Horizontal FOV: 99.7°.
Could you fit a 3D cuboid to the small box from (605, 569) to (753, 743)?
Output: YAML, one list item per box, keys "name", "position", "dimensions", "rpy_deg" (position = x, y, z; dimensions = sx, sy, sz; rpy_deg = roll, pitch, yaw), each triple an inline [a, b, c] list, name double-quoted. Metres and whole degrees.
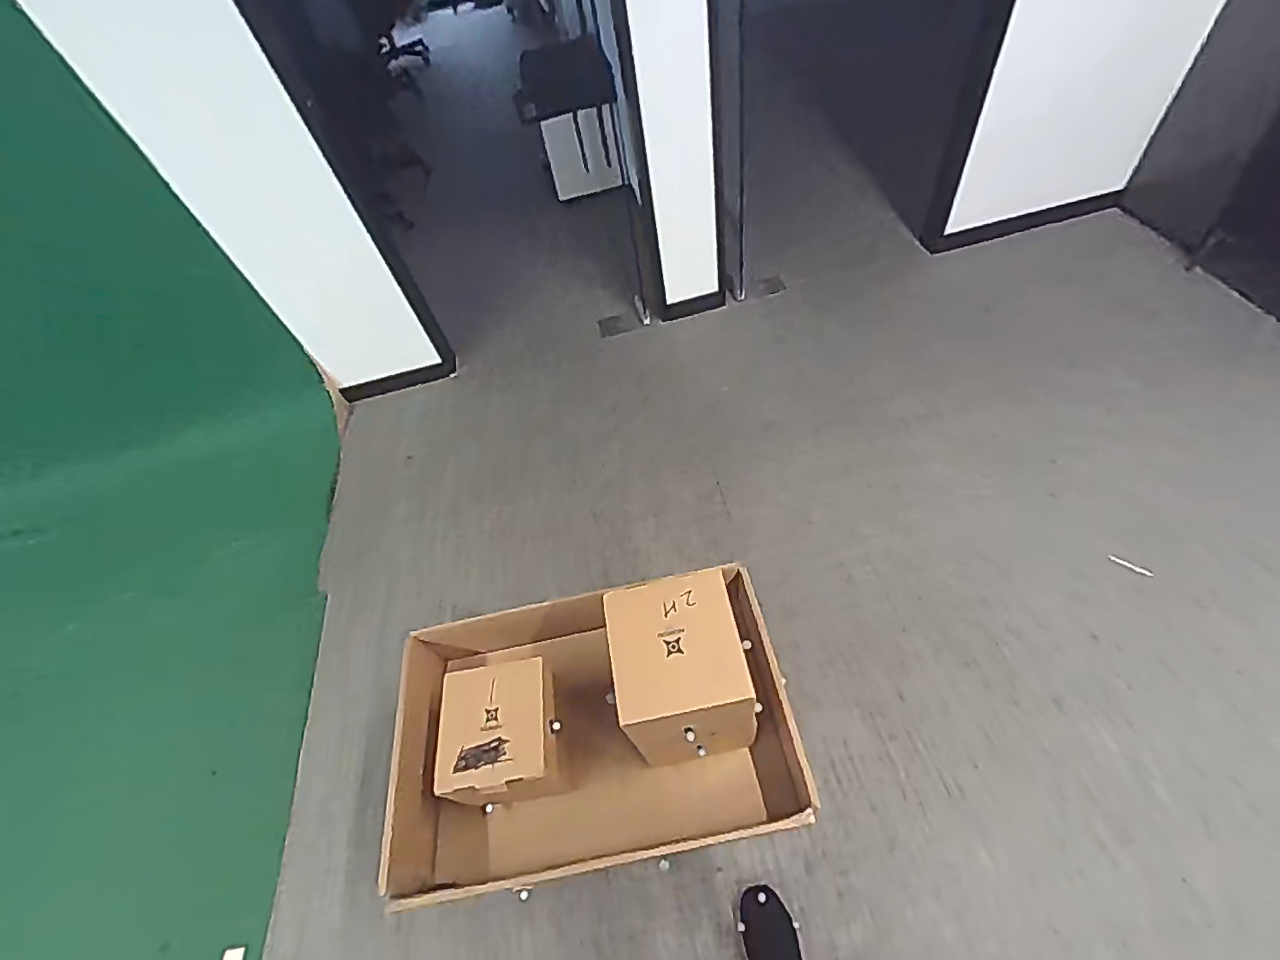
- name: "small box"
  position: [0.056, 0.250, 0.747]
  dimensions: [0.168, 0.176, 0.179]
  rpy_deg: [-12, 53, 2]
